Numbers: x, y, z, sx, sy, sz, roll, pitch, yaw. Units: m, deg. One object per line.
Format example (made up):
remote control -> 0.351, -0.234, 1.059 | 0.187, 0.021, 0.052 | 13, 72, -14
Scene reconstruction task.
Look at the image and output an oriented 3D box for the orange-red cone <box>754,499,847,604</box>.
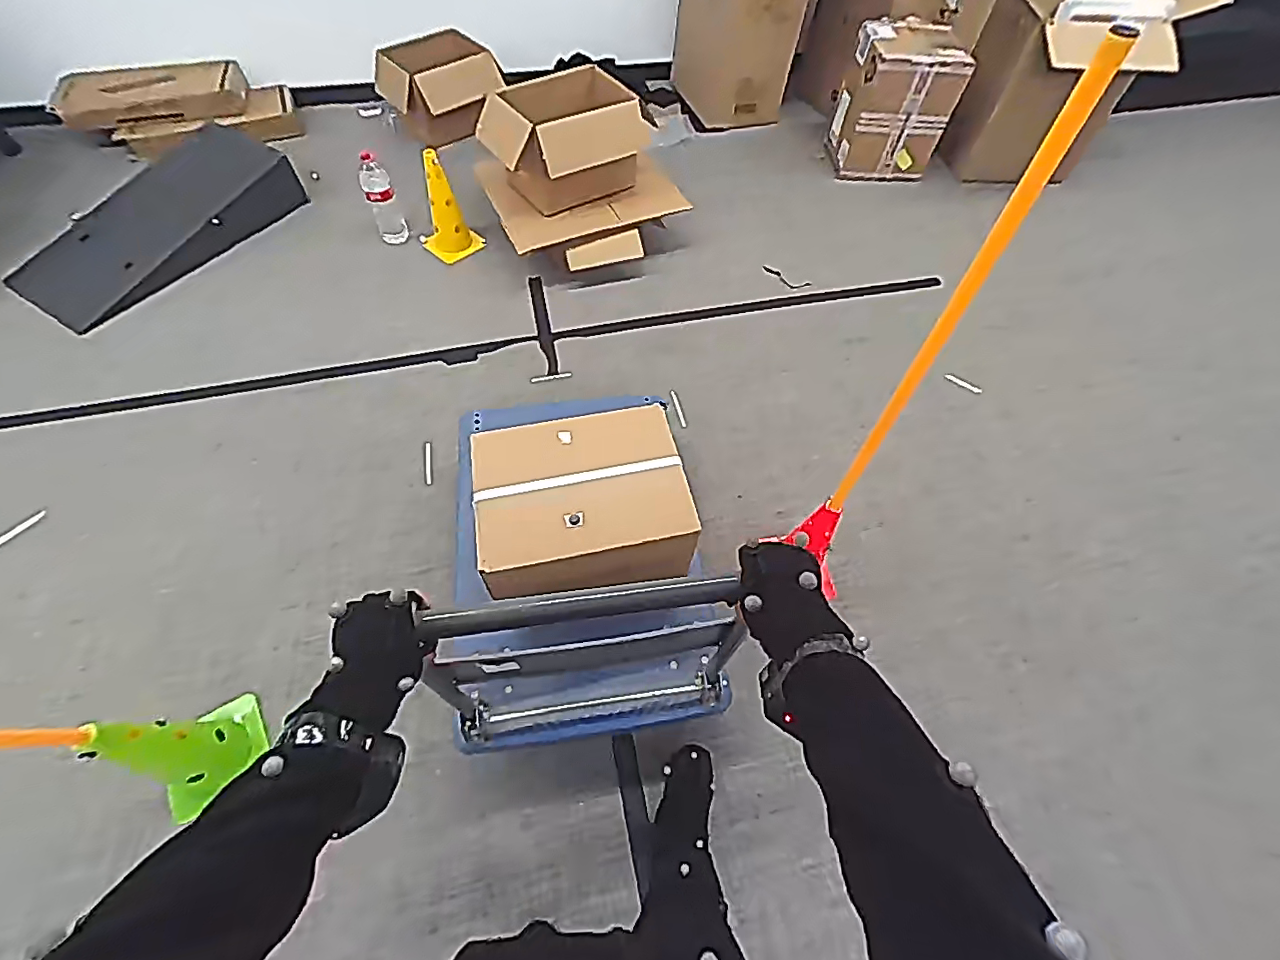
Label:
orange-red cone -> 0.428, 0.148, 1.330 | 0.199, 0.360, 0.198 | -4, 59, -6
